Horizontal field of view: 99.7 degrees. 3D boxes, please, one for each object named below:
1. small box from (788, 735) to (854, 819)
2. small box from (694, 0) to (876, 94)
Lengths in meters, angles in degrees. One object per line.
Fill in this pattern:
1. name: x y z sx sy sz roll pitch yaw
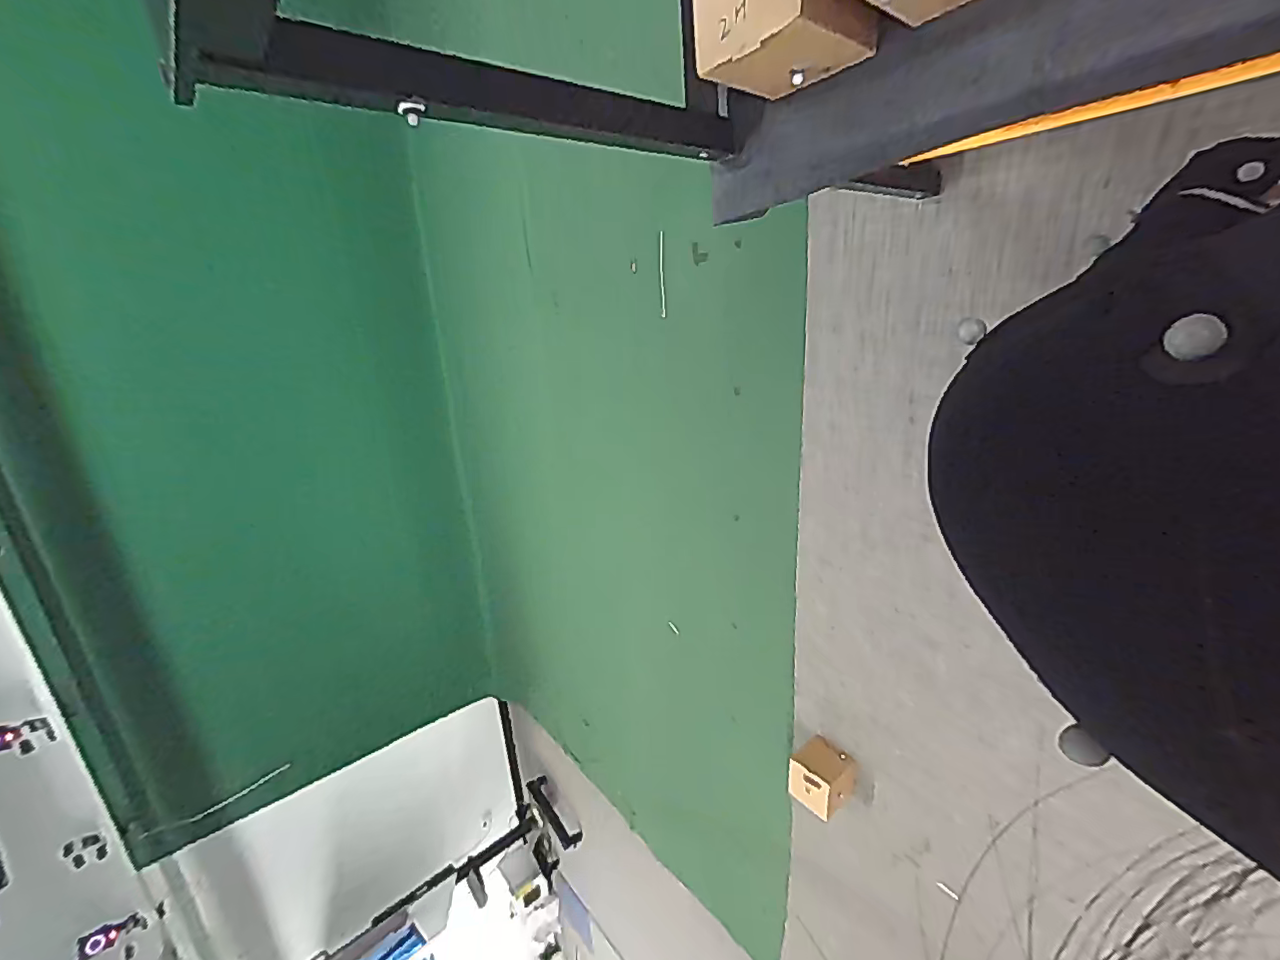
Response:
1. small box: 0.669 1.085 1.993 0.168 0.176 0.179 20 120 48
2. small box: 0.186 -0.633 0.688 0.168 0.176 0.179 14 114 49
